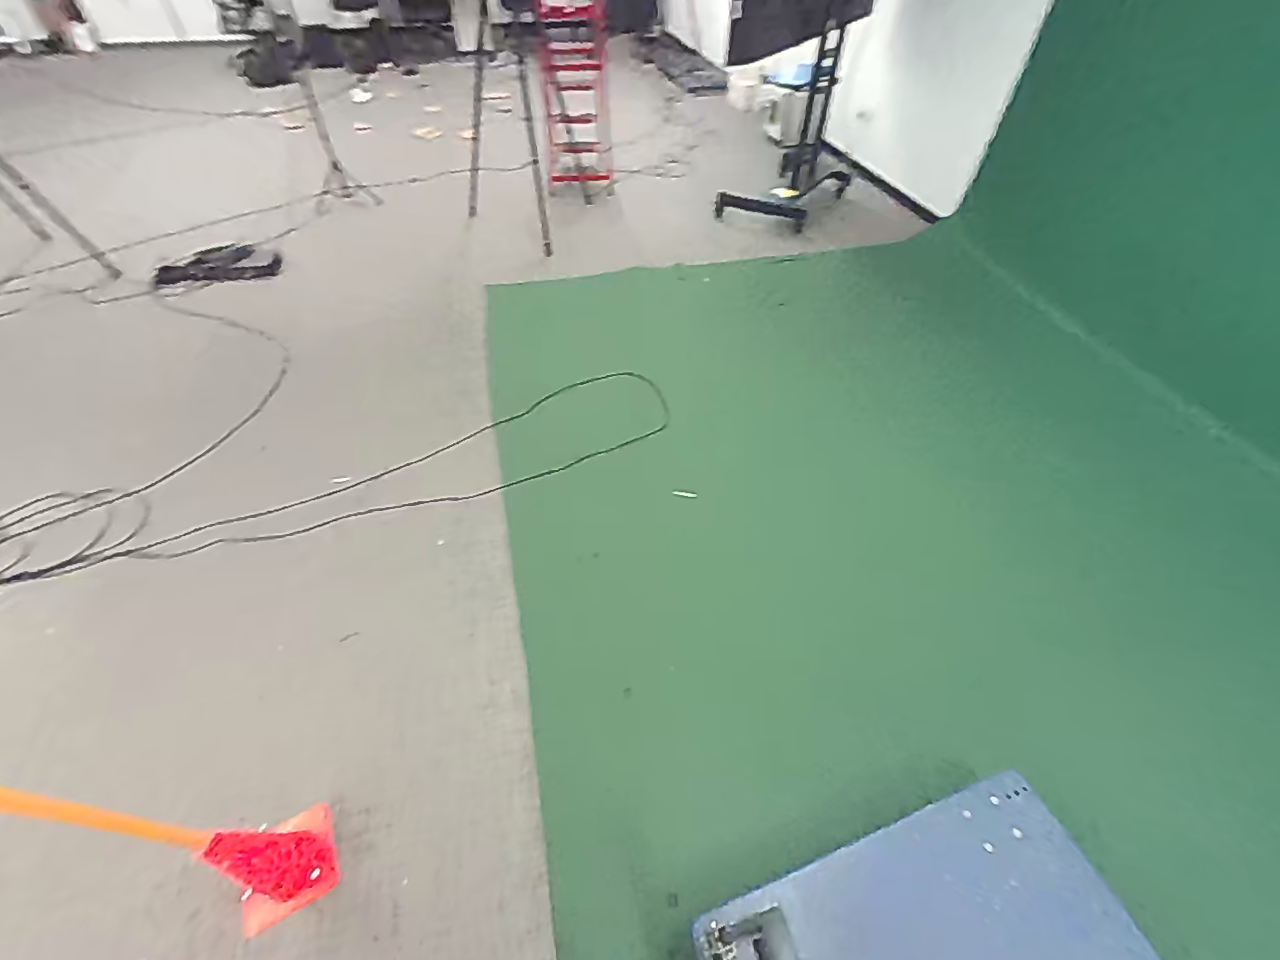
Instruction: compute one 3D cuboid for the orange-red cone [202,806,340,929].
[{"bbox_3d":[-0.837,0.814,1.182,0.198,0.360,0.199,-22,51,-19],"label":"orange-red cone"}]
